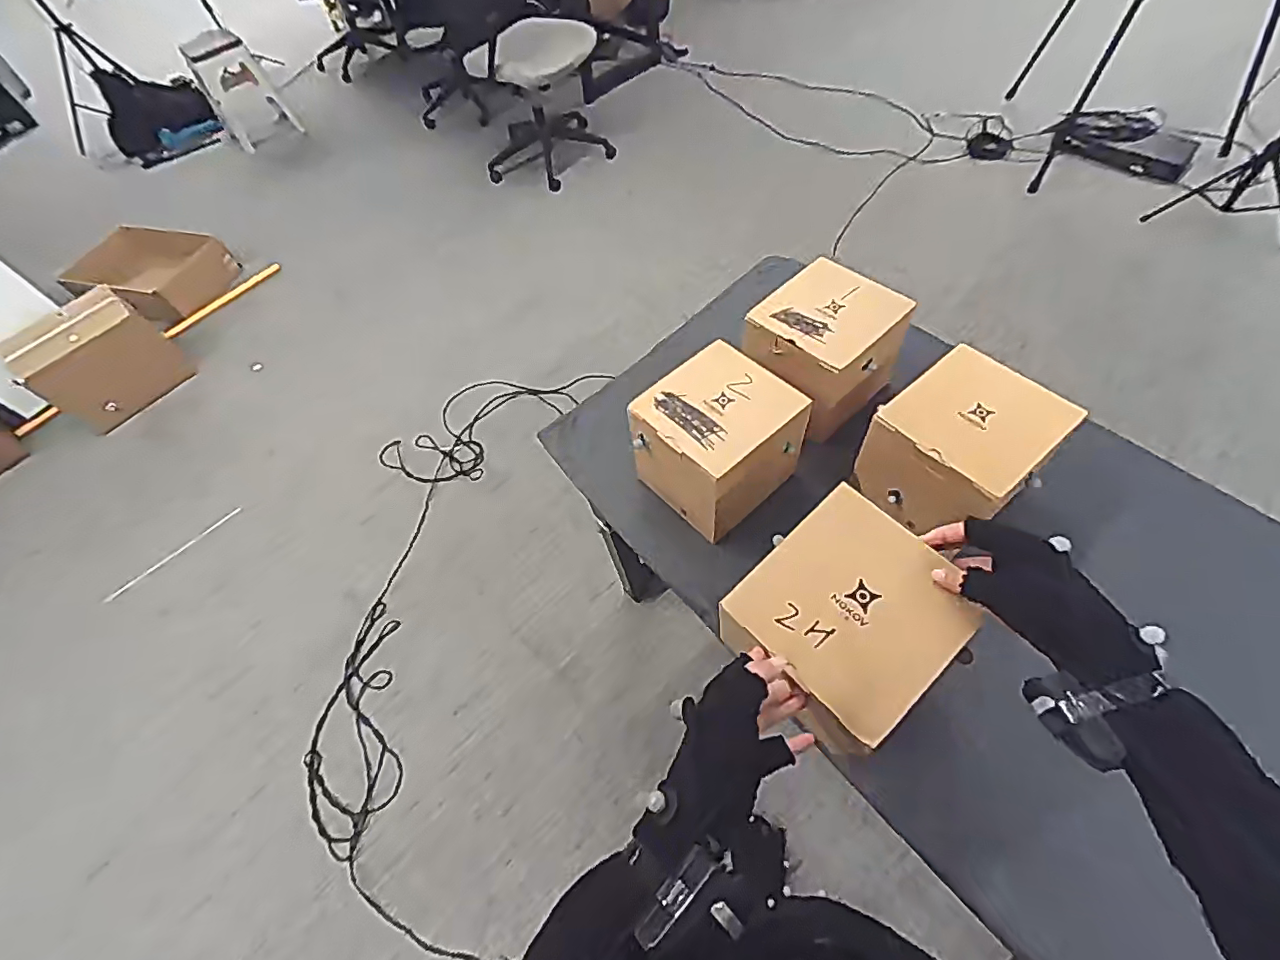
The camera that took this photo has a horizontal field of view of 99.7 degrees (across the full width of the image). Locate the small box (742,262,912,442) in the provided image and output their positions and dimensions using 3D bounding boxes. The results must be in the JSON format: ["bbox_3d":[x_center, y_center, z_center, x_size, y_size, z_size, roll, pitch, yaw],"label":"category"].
[{"bbox_3d":[0.273,-0.190,0.828,0.179,0.176,0.168,-40,62,-17],"label":"small box"}]

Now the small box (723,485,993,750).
[{"bbox_3d":[0.198,0.143,0.547,0.179,0.176,0.168,-41,64,-12],"label":"small box"}]

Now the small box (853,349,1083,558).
[{"bbox_3d":[0.409,-0.031,0.711,0.179,0.176,0.168,-38,61,-14],"label":"small box"}]
